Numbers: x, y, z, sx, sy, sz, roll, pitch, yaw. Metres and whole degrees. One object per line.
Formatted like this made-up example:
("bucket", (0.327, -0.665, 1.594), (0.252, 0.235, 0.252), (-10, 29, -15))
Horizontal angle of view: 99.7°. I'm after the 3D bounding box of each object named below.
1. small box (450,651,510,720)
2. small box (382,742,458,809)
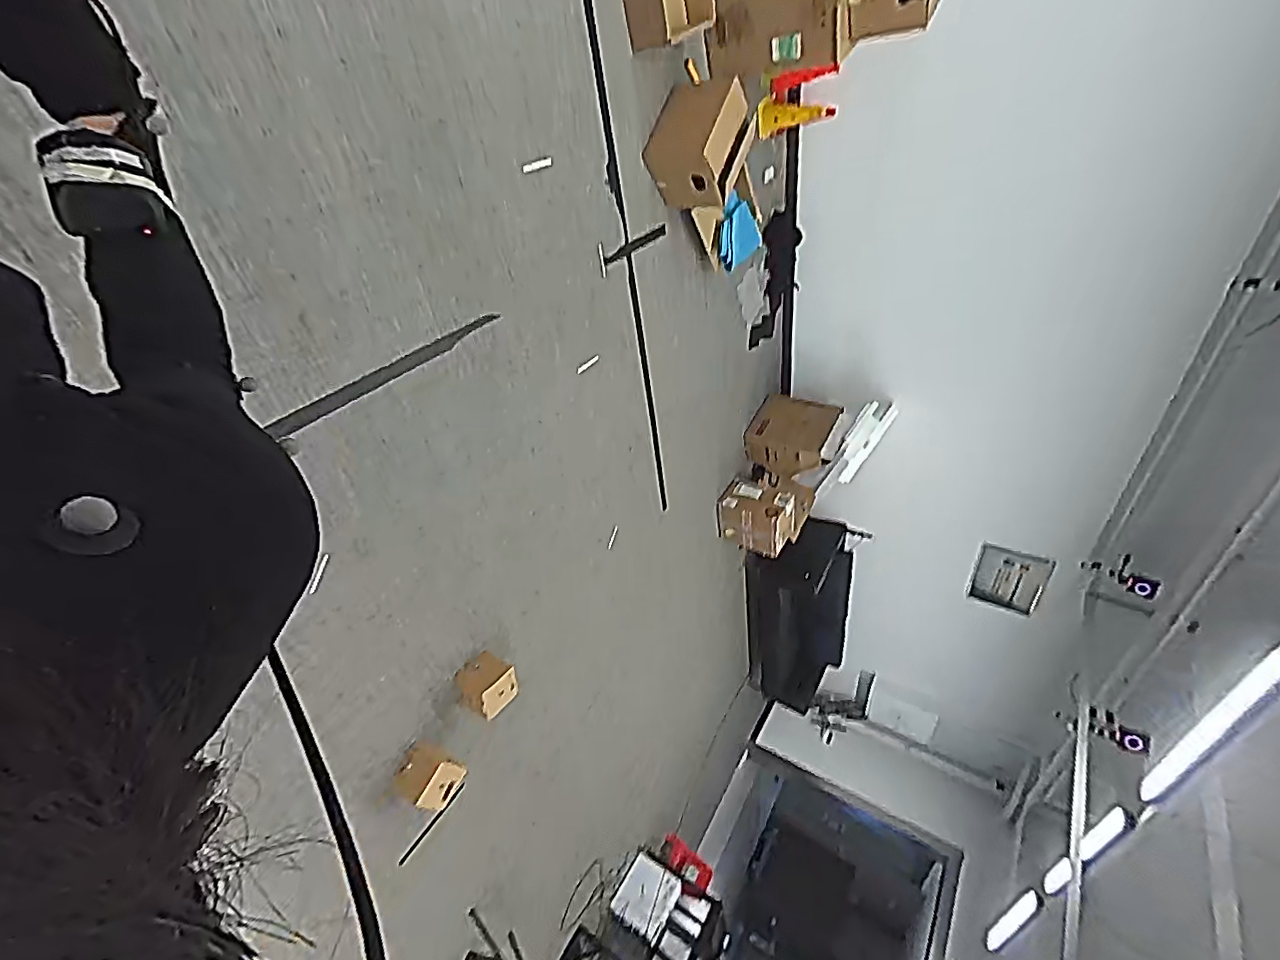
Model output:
("small box", (-0.677, 0.858, 2.273), (0.179, 0.176, 0.168), (-35, 133, -48))
("small box", (-0.858, 1.151, 2.112), (0.168, 0.176, 0.179), (-60, 147, -23))
